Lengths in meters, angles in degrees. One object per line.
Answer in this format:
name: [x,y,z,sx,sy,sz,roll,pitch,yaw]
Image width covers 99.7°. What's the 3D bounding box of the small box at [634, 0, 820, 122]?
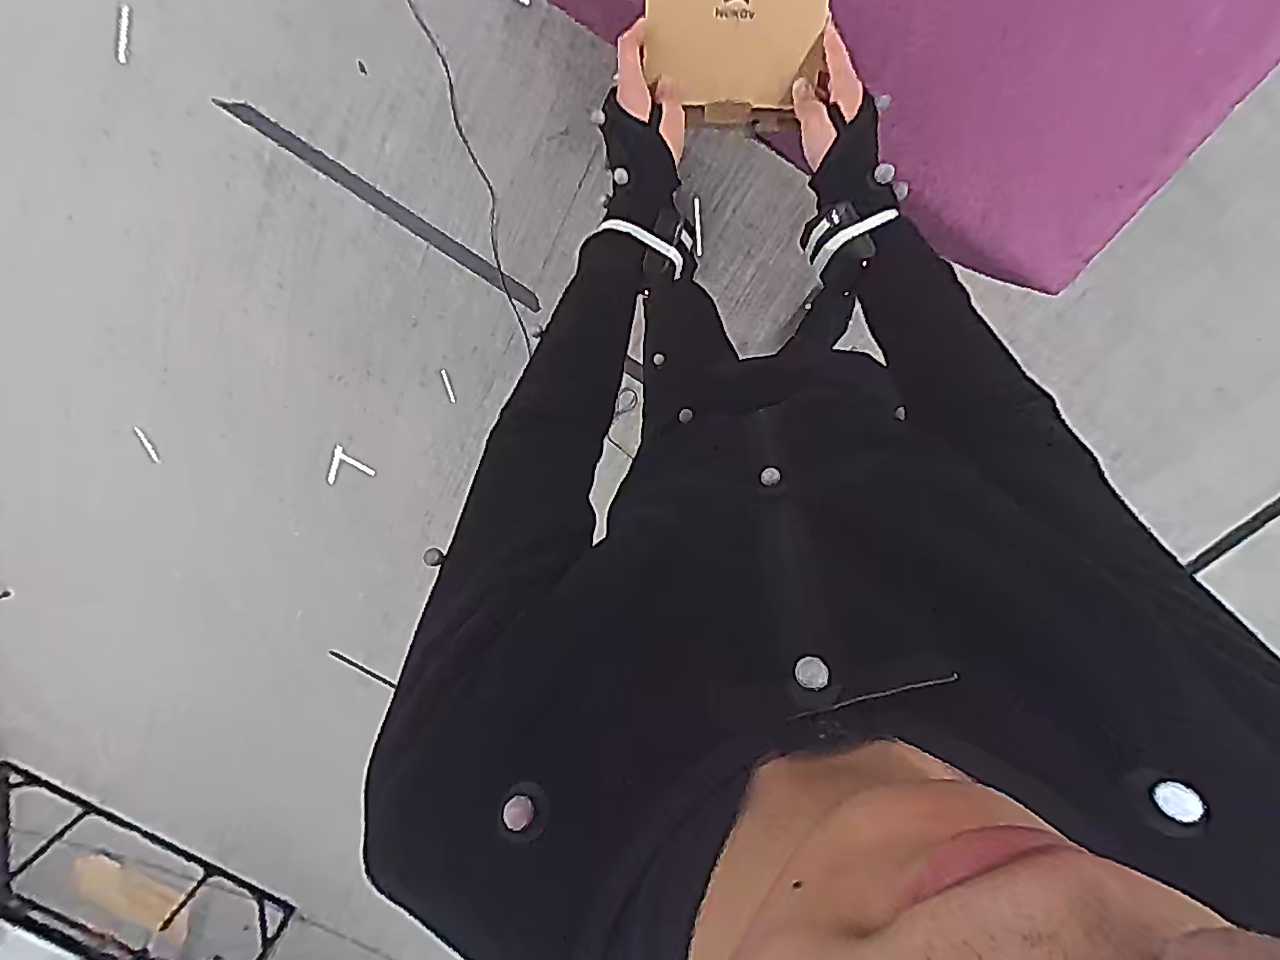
small box: [0.082,-0.475,0.546,0.168,0.176,0.179,3,118,0]
